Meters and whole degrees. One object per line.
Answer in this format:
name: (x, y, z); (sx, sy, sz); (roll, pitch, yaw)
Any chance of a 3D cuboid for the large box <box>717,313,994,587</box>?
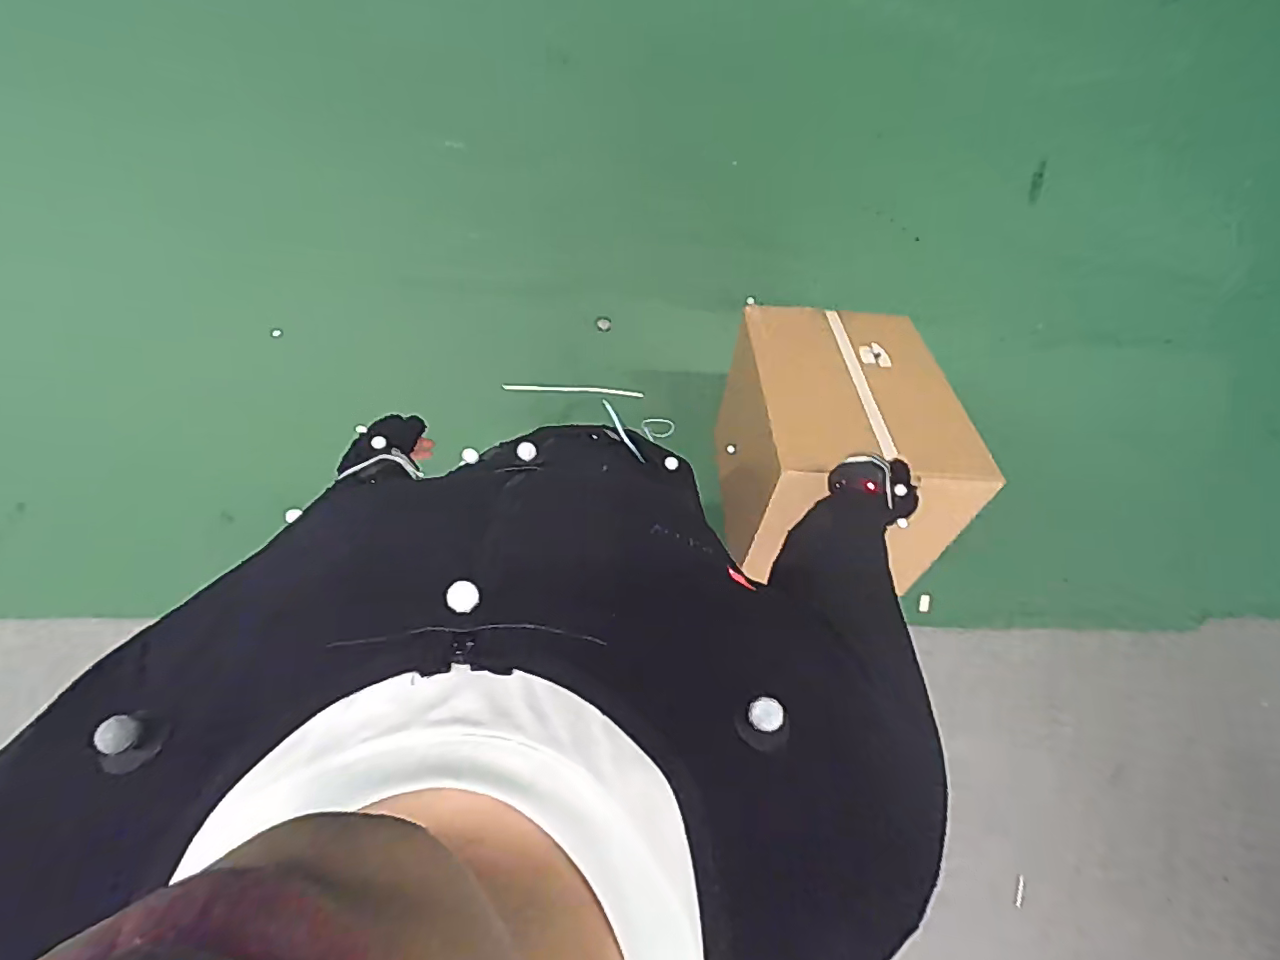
large box: (0.334, -0.054, 0.986); (0.320, 0.408, 0.320); (4, 137, -4)
